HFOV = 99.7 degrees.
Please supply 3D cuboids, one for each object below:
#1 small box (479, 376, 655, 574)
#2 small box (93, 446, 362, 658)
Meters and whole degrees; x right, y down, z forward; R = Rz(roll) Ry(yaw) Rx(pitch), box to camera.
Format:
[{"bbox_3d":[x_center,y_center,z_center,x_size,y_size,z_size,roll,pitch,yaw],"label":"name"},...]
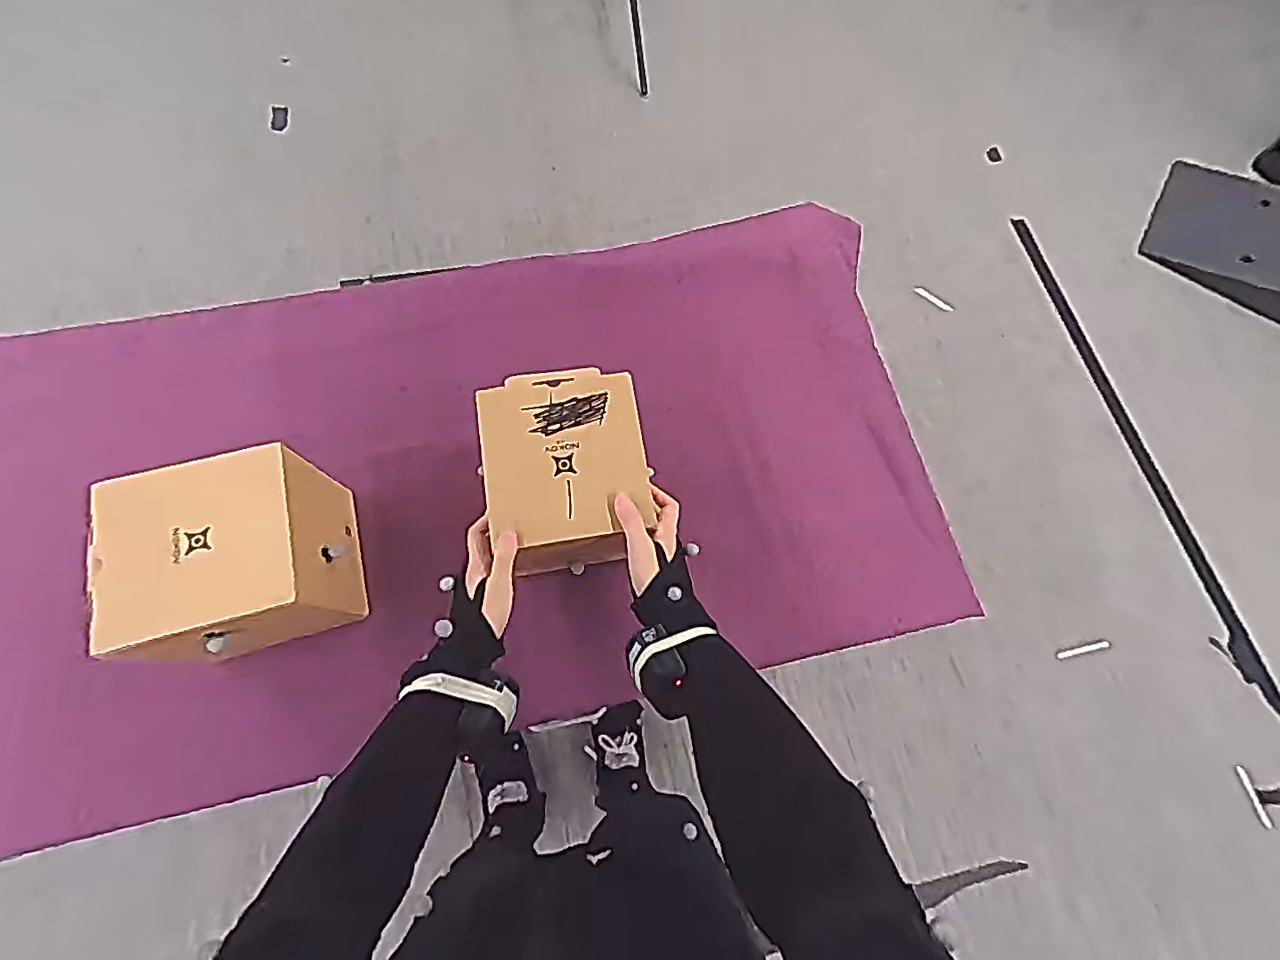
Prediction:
[{"bbox_3d":[-0.084,0.002,0.631,0.168,0.176,0.179,-9,74,-6],"label":"small box"},{"bbox_3d":[-0.423,0.084,0.584,0.179,0.176,0.168,-15,73,-8],"label":"small box"}]
